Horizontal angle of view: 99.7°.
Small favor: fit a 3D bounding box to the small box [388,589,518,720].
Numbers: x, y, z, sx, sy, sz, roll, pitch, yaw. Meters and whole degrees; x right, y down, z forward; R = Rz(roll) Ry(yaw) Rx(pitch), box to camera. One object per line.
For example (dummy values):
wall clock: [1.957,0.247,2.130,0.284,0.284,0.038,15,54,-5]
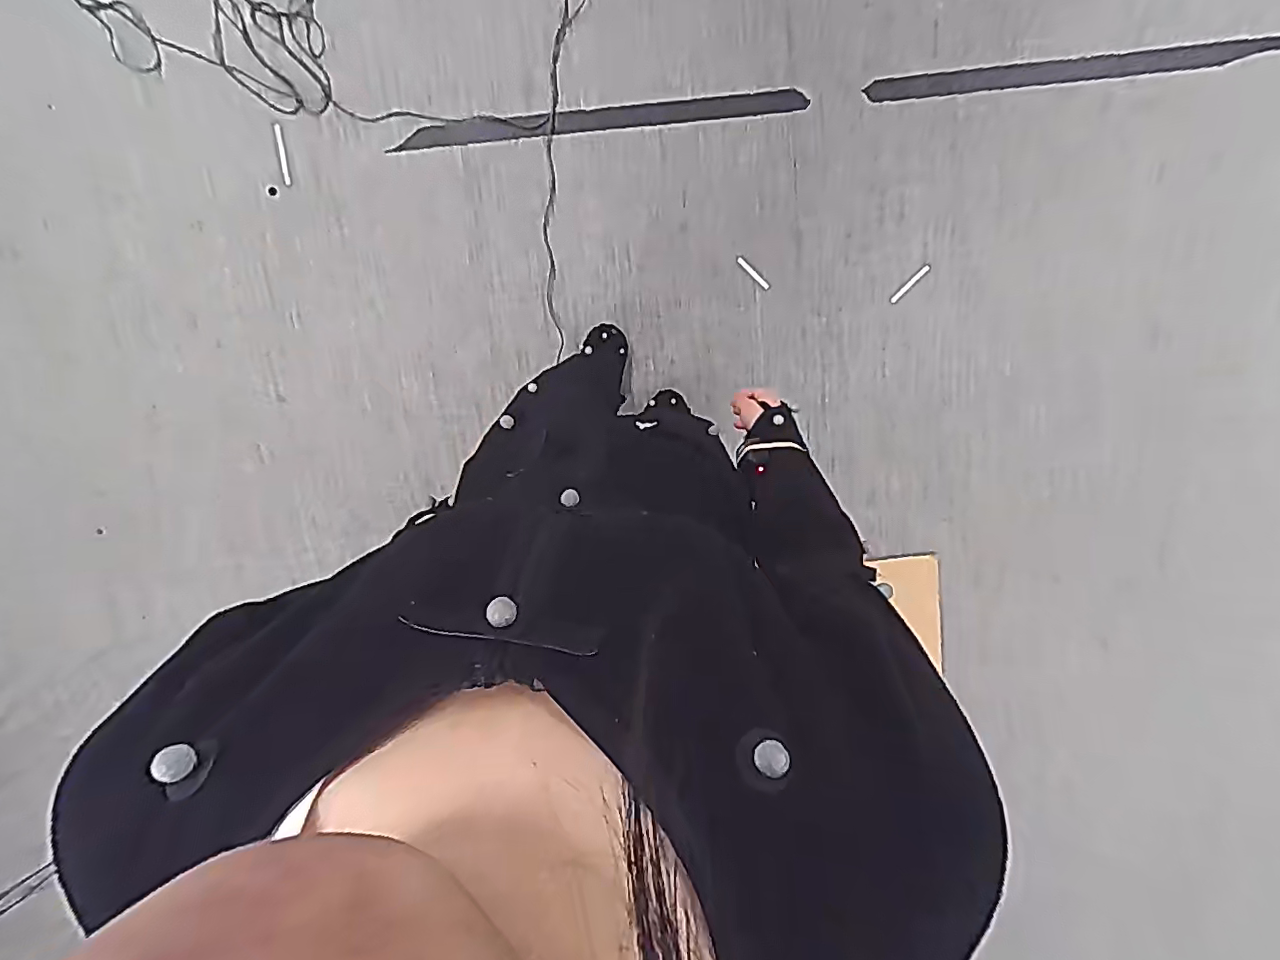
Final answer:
small box: [-0.392,0.366,1.171,0.179,0.176,0.168,44,98,-5]
